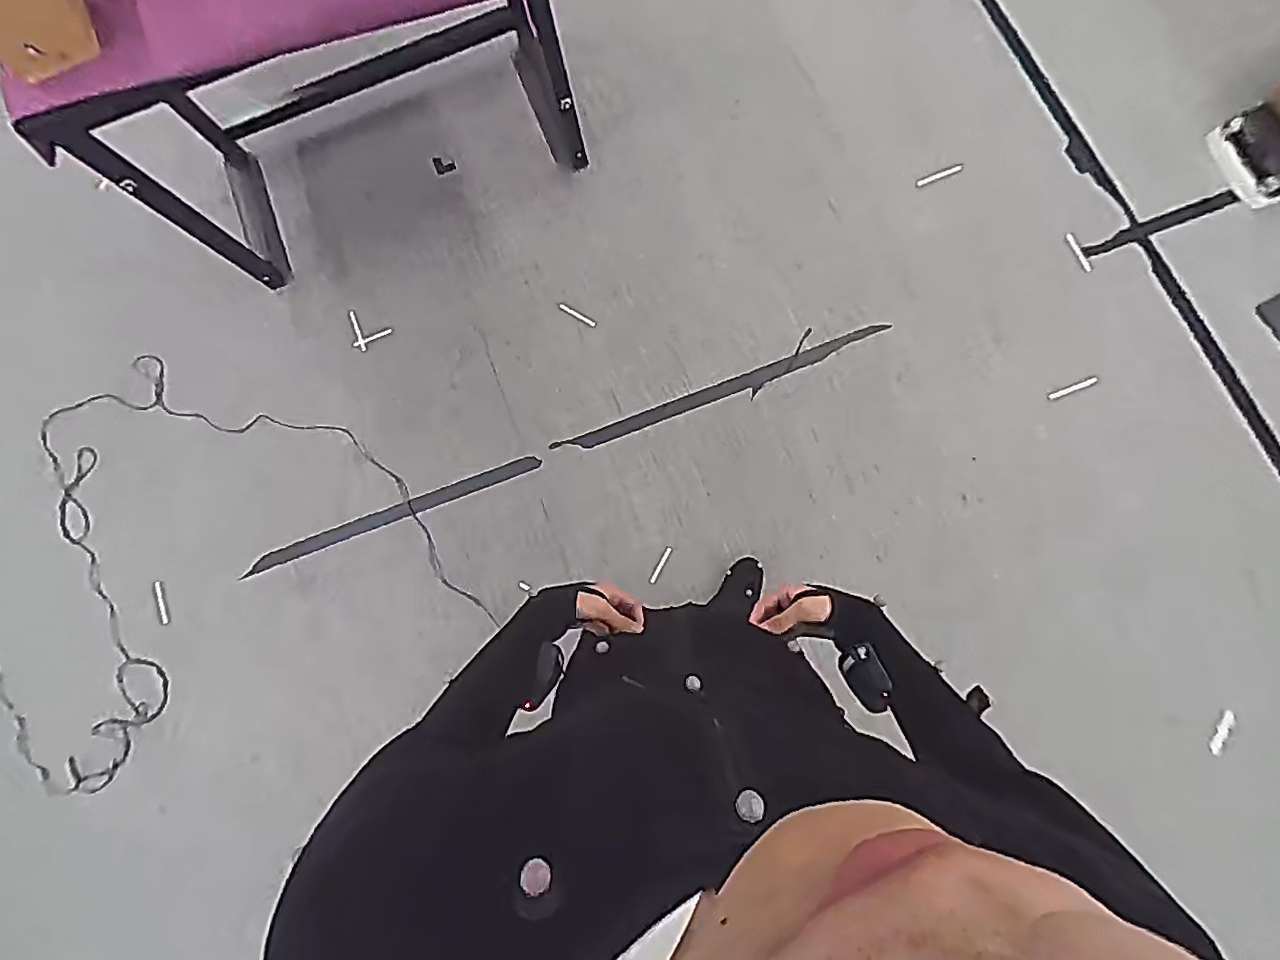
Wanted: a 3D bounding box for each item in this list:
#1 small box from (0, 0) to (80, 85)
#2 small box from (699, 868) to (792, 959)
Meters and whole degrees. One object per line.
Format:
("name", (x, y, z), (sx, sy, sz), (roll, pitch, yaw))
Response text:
("small box", (-1.296, -0.951, 1.079), (0.168, 0.176, 0.179), (-26, 81, -3))
("small box", (0.263, 1.135, 1.359), (0.179, 0.176, 0.168), (-29, 80, 0))
